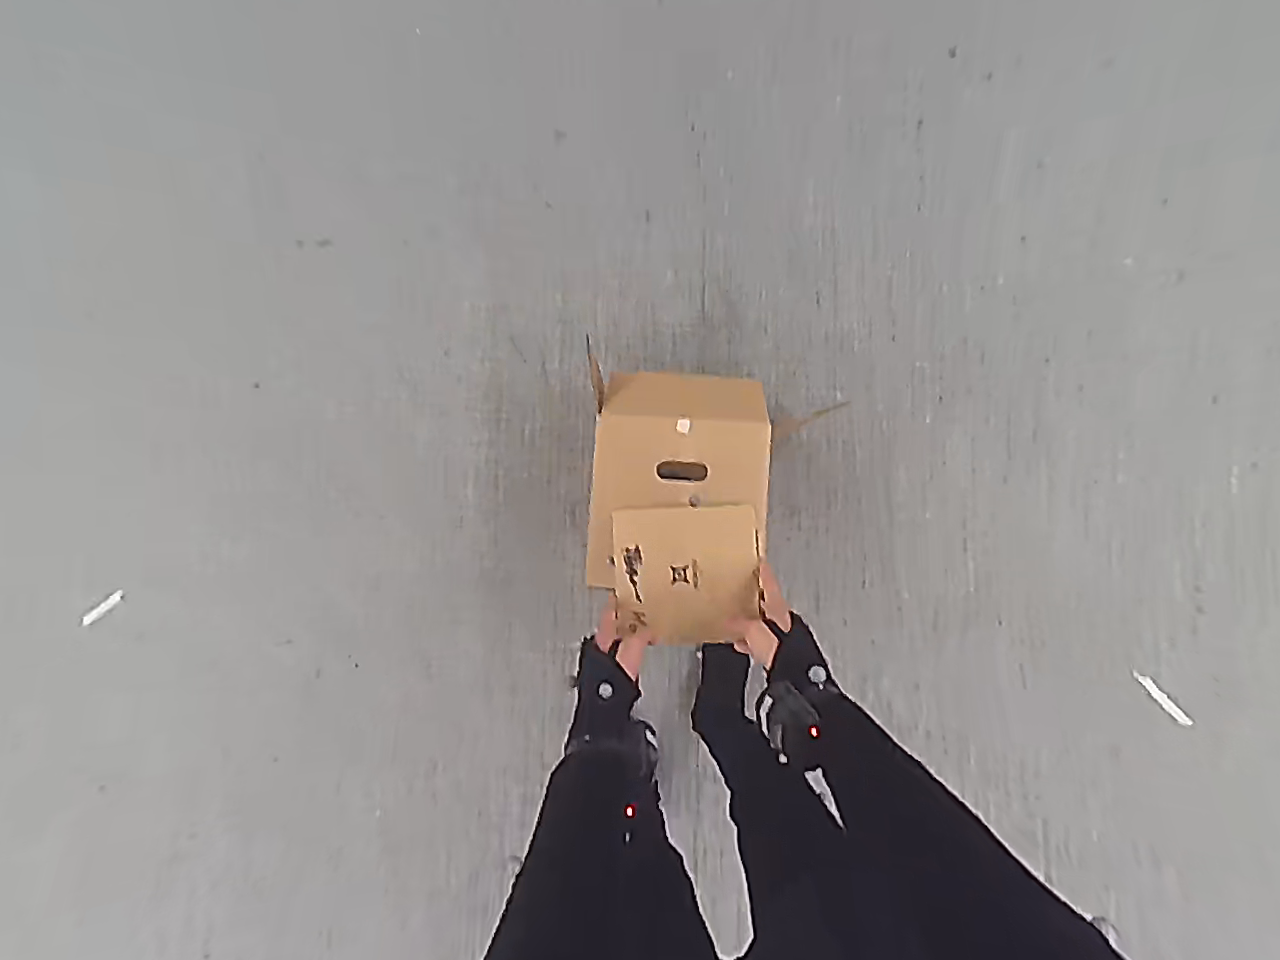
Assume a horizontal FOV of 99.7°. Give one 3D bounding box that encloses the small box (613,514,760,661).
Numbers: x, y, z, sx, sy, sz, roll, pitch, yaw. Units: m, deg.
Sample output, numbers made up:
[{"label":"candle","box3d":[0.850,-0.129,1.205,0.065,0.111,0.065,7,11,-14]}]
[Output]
[{"label":"small box","box3d":[0.058,0.135,0.732,0.179,0.176,0.168,-2,89,2]}]
